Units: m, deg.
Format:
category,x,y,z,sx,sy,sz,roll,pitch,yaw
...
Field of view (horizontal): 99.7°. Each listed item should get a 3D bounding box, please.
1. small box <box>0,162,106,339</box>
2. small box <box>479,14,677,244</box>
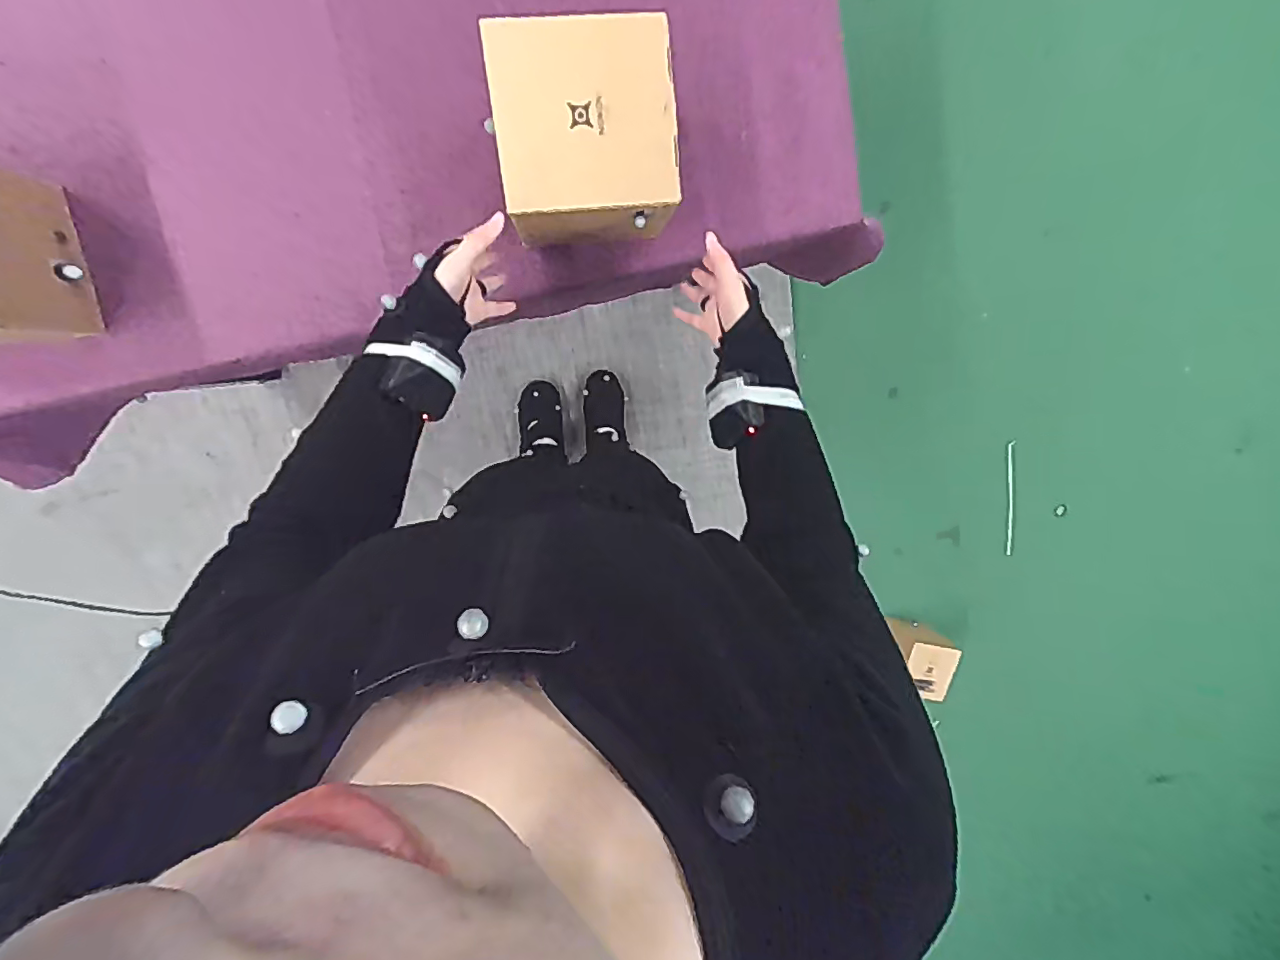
category,x,y,z,sx,sy,sz,roll,pitch,yaw
small box,-0.713,-0.229,0.539,0.179,0.176,0.168,-7,104,-7
small box,-0.065,-0.366,0.595,0.179,0.176,0.168,-7,104,-6
